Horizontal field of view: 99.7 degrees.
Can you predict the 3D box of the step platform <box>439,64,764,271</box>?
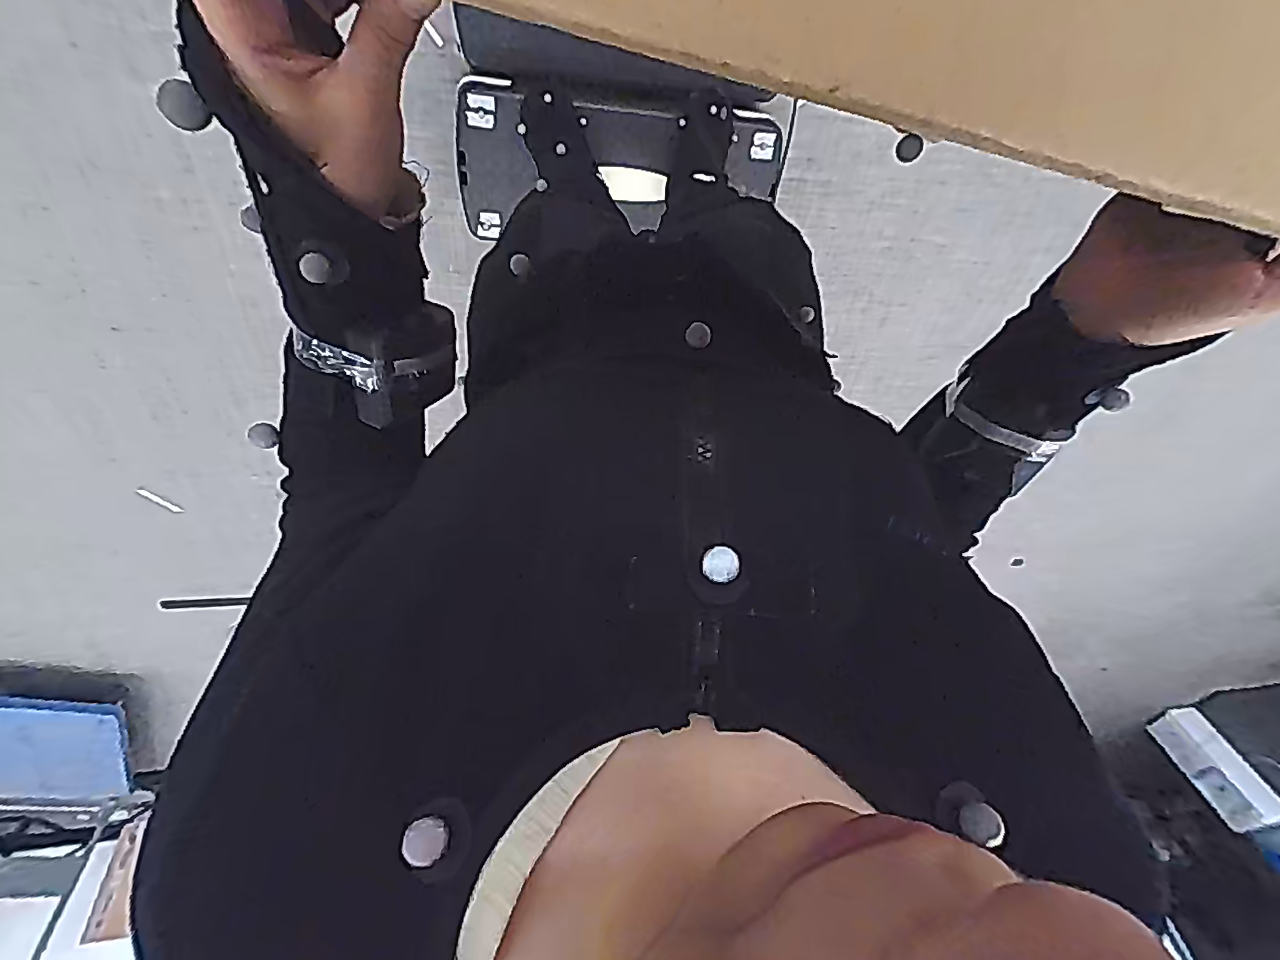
[{"bbox_3d":[-0.081,-0.667,1.190,0.684,0.204,0.286,4,130,-12],"label":"step platform"}]
